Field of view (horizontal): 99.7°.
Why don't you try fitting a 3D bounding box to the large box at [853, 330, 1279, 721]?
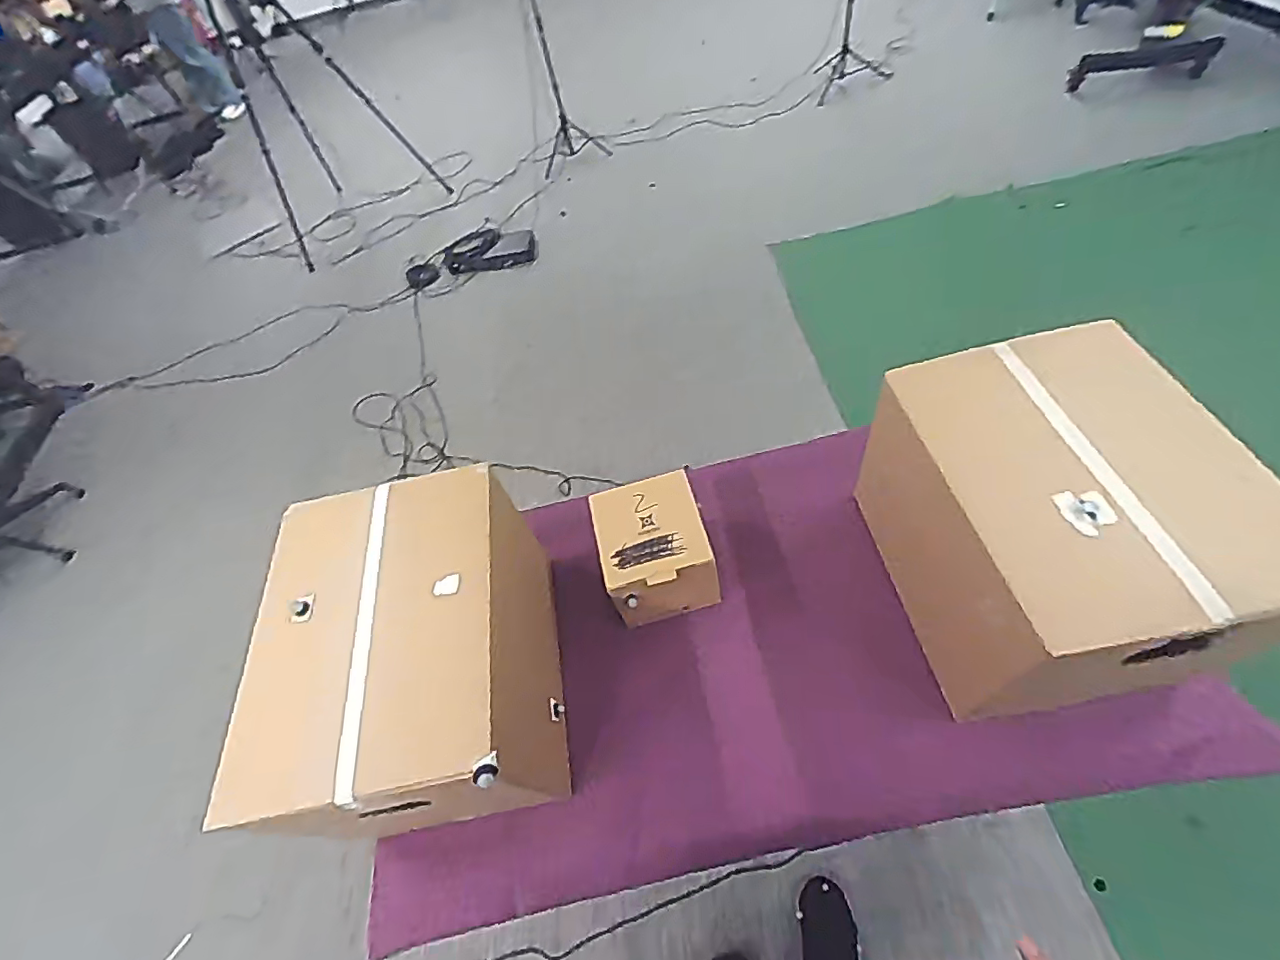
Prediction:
[{"bbox_3d":[0.540,0.067,0.745,0.320,0.320,0.408,-13,54,3],"label":"large box"}]
